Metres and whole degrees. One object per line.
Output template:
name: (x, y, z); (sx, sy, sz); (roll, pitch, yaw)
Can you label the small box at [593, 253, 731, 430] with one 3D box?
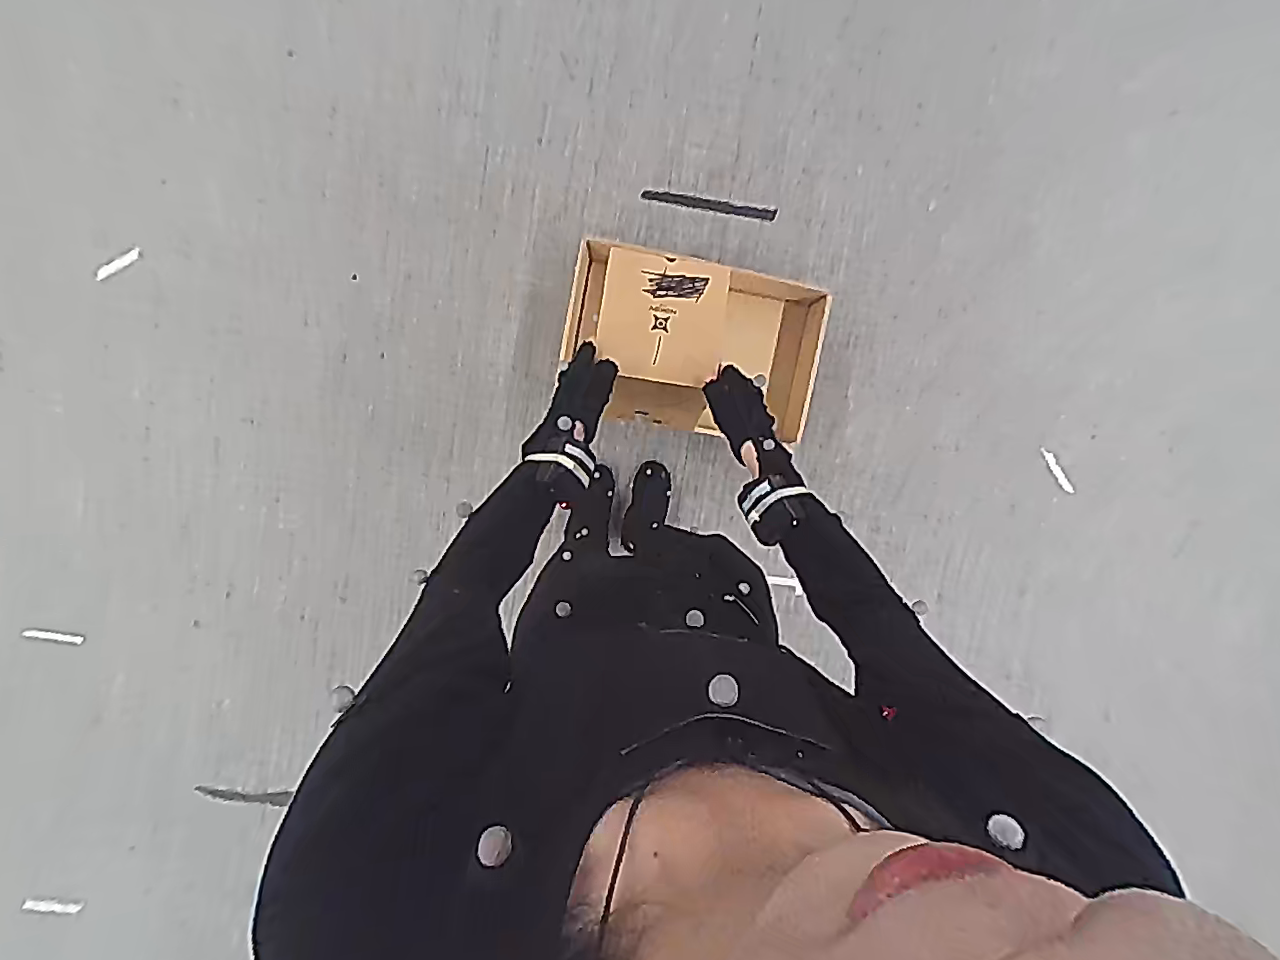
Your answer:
small box: (0.025, -0.190, 0.780); (0.168, 0.176, 0.179); (8, 76, -2)
